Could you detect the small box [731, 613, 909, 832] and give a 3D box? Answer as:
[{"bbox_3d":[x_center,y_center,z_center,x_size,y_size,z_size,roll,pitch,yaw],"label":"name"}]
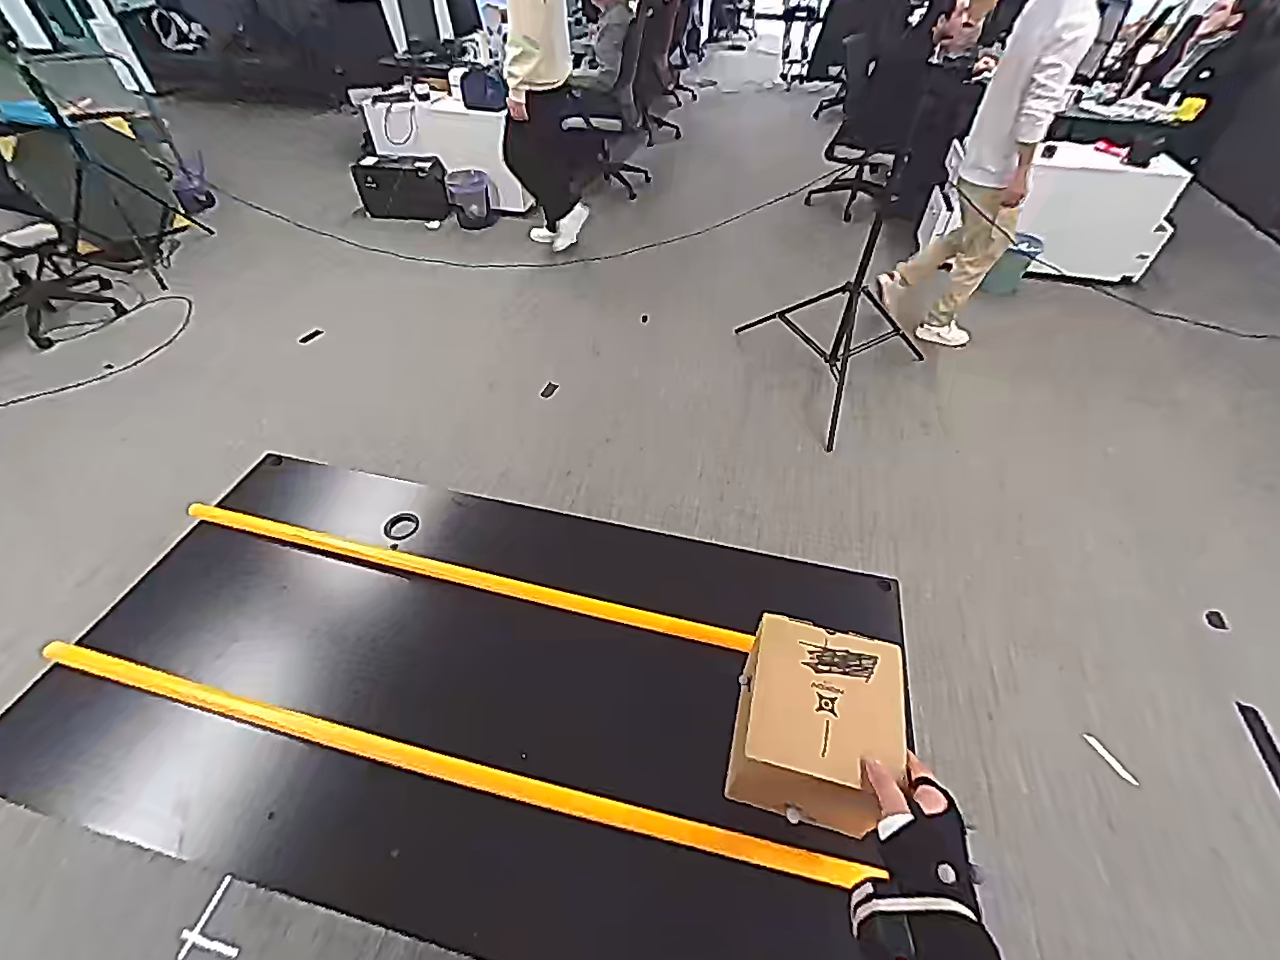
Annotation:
[{"bbox_3d":[0.212,0.297,0.664,0.168,0.176,0.179,12,48,11],"label":"small box"}]
